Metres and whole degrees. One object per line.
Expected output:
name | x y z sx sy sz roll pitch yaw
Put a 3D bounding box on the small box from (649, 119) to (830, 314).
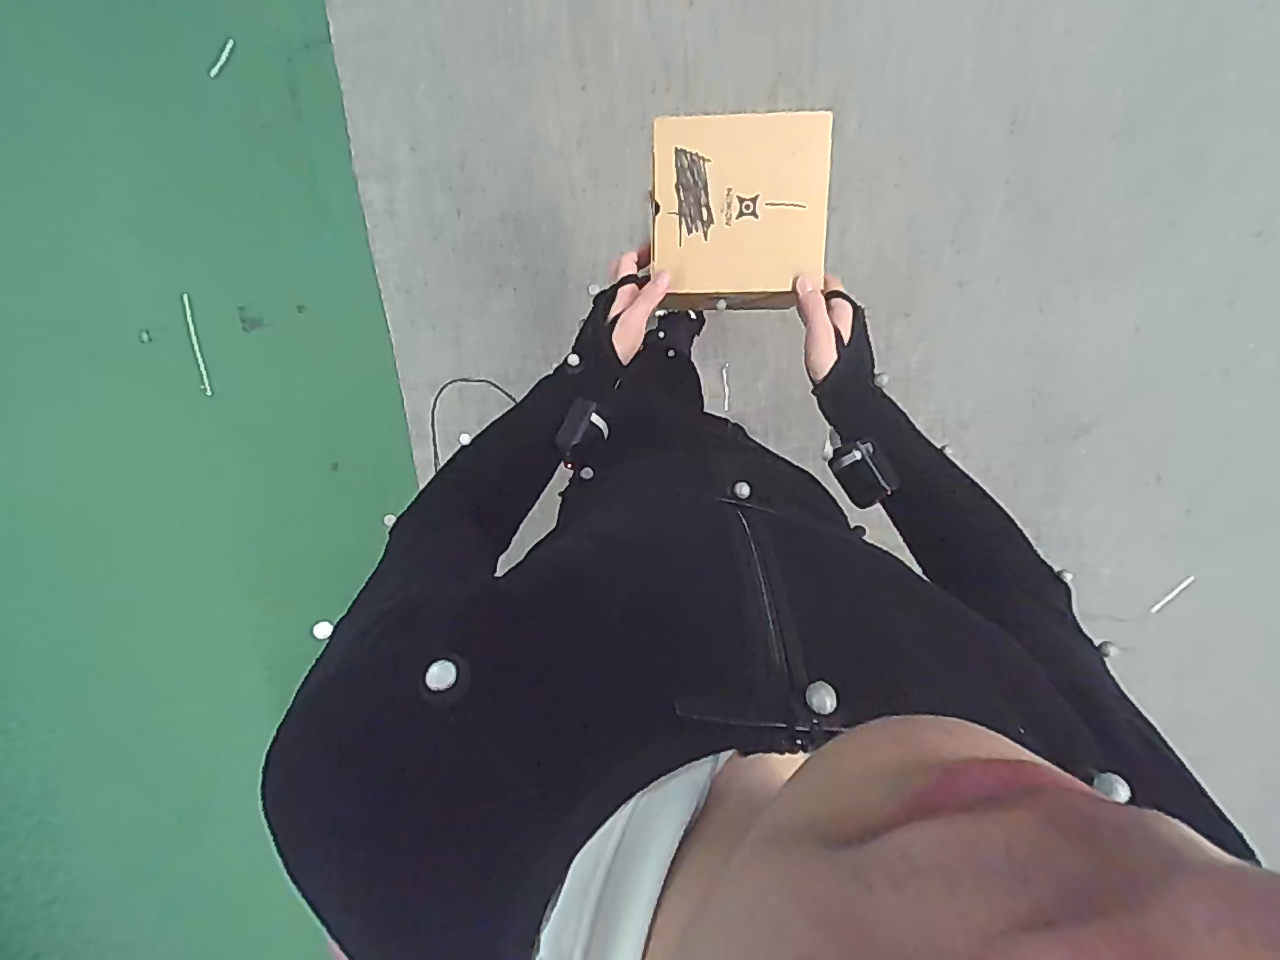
small box | 0.103 -0.284 0.619 0.179 0.176 0.168 1 101 4
